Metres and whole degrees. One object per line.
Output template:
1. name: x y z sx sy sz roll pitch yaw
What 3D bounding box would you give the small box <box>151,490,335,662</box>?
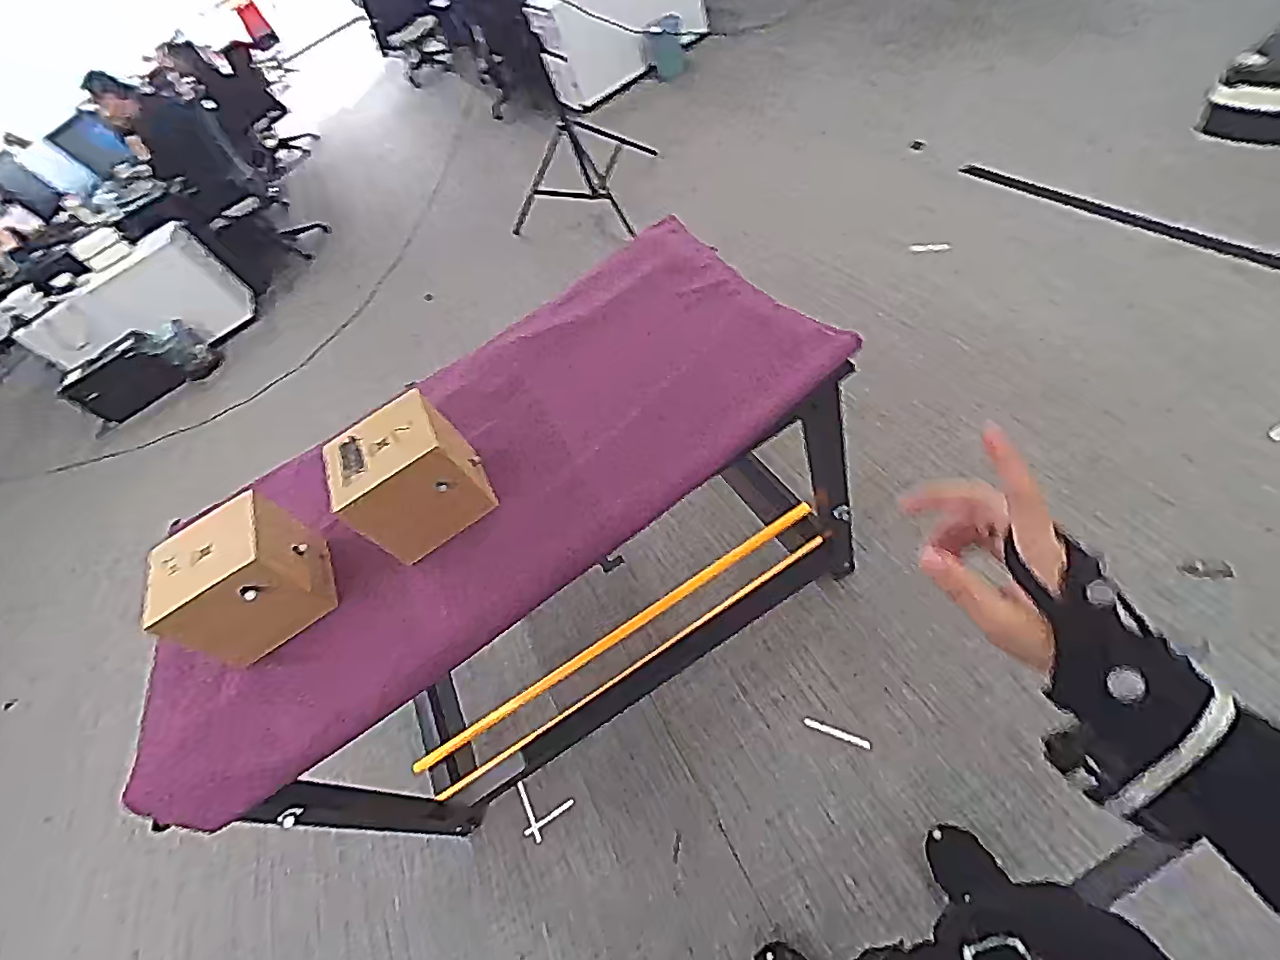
1. small box: -0.619 0.156 0.867 0.179 0.176 0.168 -34 49 -6
